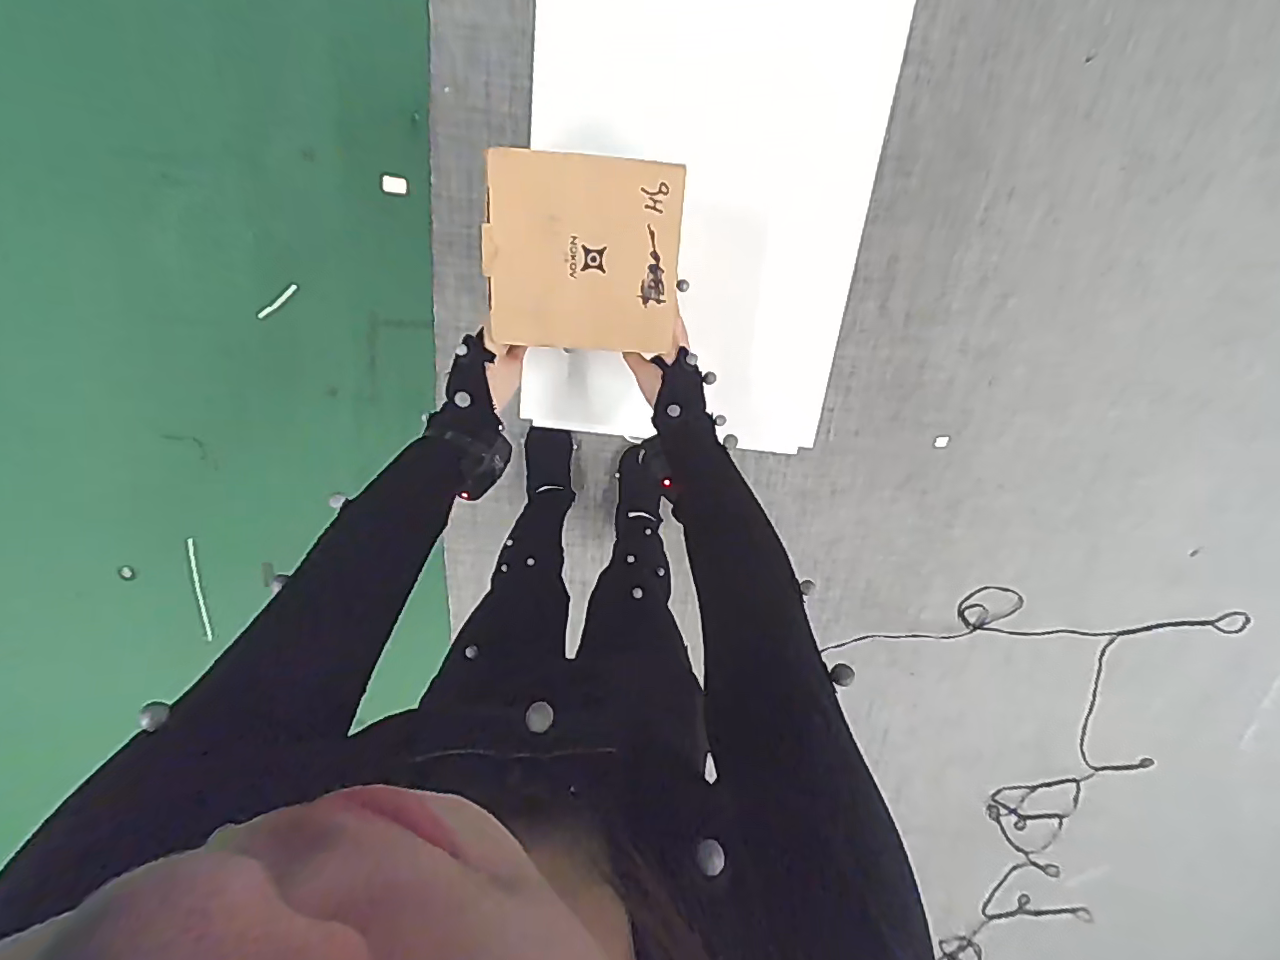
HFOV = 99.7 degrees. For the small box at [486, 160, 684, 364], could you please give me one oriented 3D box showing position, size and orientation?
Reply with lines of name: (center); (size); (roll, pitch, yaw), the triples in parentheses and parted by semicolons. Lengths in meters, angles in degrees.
small box: (-0.057, -0.222, 0.575); (0.179, 0.176, 0.168); (3, 110, -4)
